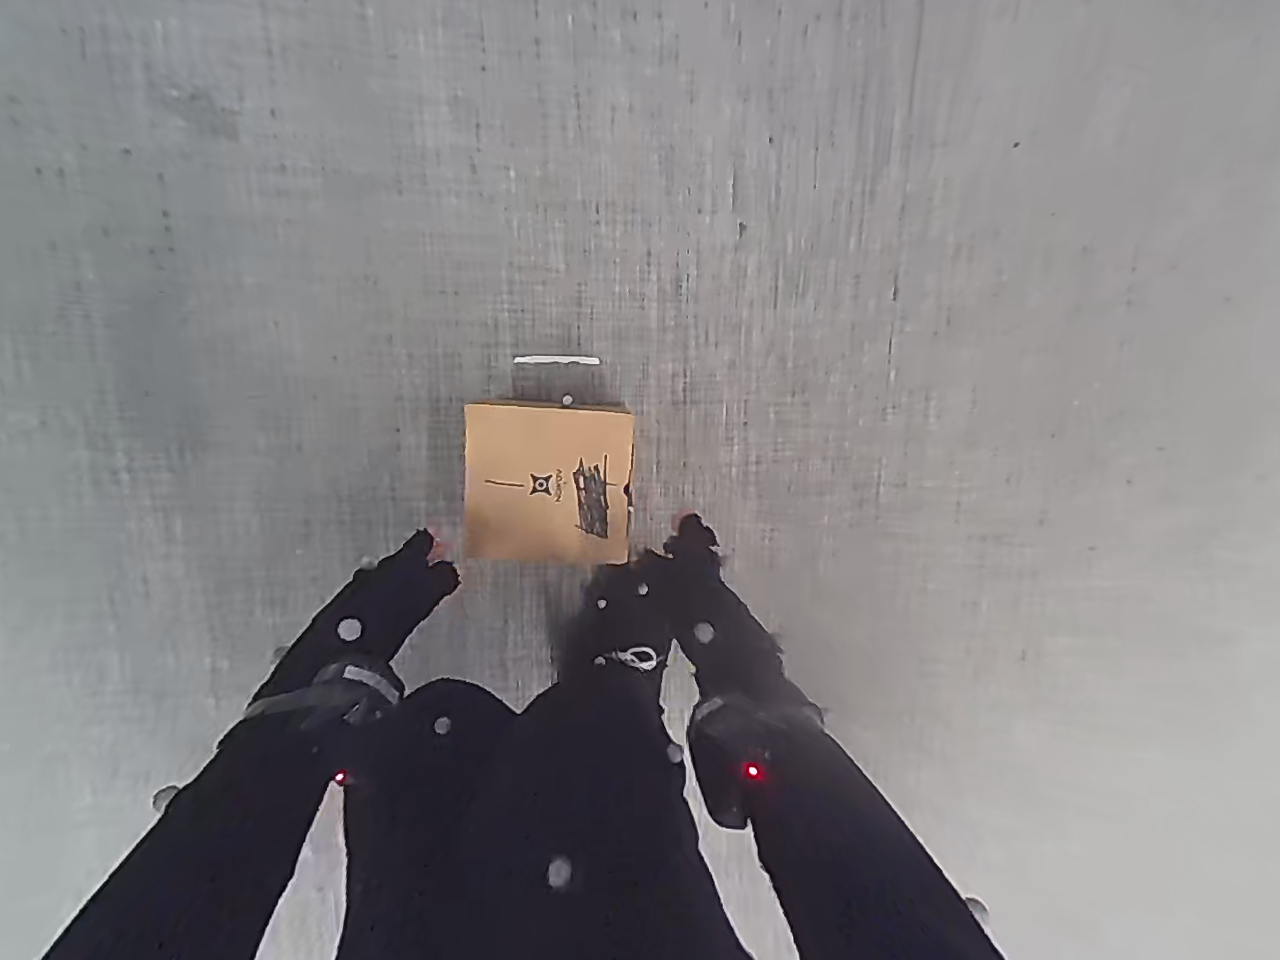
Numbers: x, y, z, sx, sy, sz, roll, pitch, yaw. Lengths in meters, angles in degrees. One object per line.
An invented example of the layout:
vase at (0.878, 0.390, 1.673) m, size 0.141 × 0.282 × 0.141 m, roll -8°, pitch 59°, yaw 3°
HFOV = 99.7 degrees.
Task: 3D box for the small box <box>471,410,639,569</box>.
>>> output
small box at (-0.097, 0.002, 0.655) m, size 0.179 × 0.176 × 0.168 m, roll 0°, pitch 100°, yaw -5°
